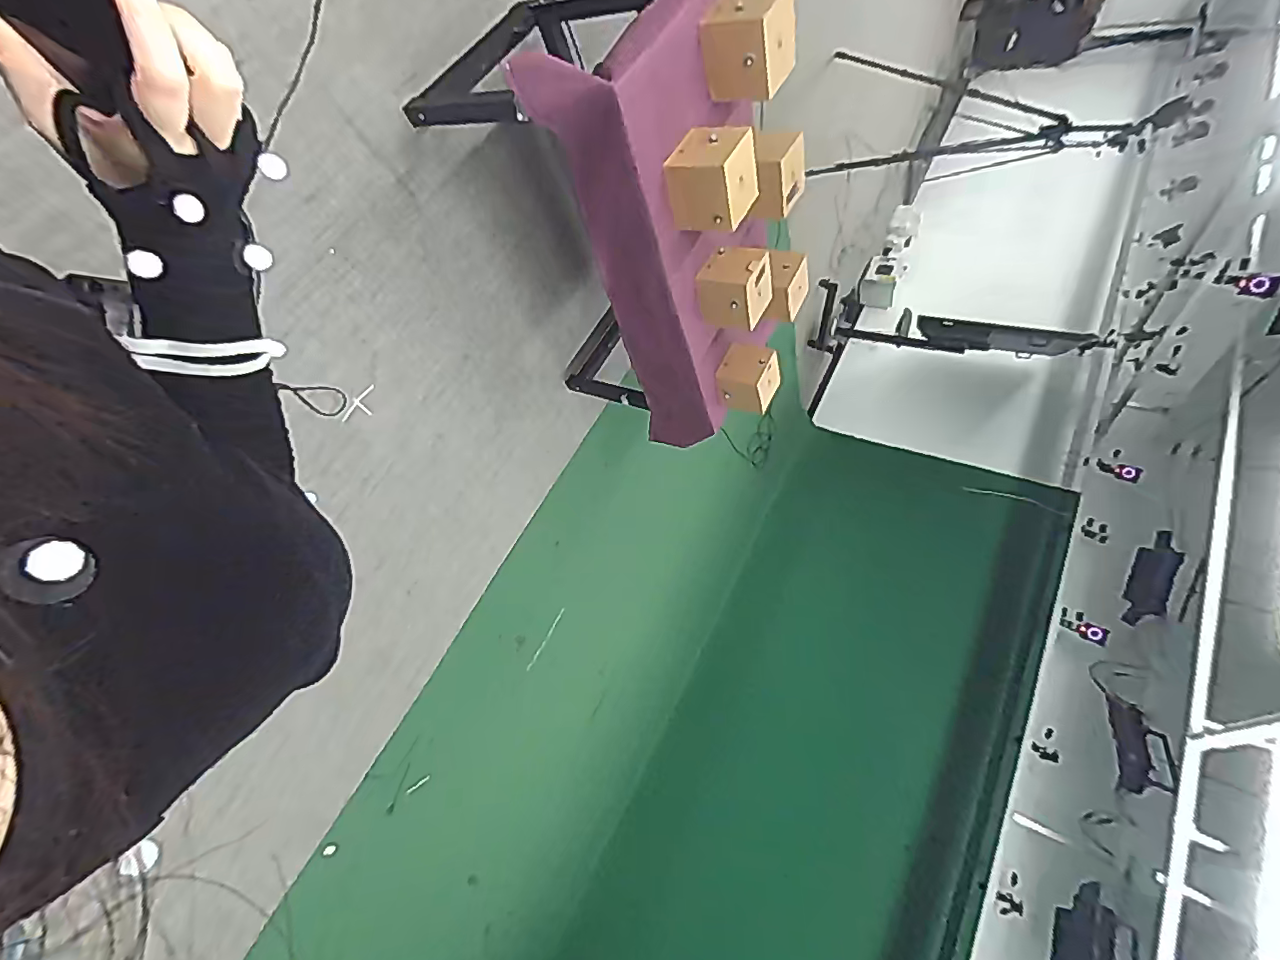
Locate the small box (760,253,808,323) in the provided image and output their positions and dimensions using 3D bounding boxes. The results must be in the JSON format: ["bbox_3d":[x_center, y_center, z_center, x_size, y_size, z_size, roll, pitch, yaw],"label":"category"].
[{"bbox_3d":[0.490,-0.697,1.947,0.179,0.176,0.168,-61,149,-18],"label":"small box"}]

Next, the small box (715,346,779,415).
[{"bbox_3d":[0.391,-0.367,1.970,0.168,0.176,0.179,-61,150,-20],"label":"small box"}]

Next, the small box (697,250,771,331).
[{"bbox_3d":[0.288,-0.585,1.663,0.168,0.176,0.179,-58,150,-23],"label":"small box"}]

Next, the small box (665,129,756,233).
[{"bbox_3d":[0.179,-0.756,1.374,0.168,0.176,0.179,-59,150,-22],"label":"small box"}]
